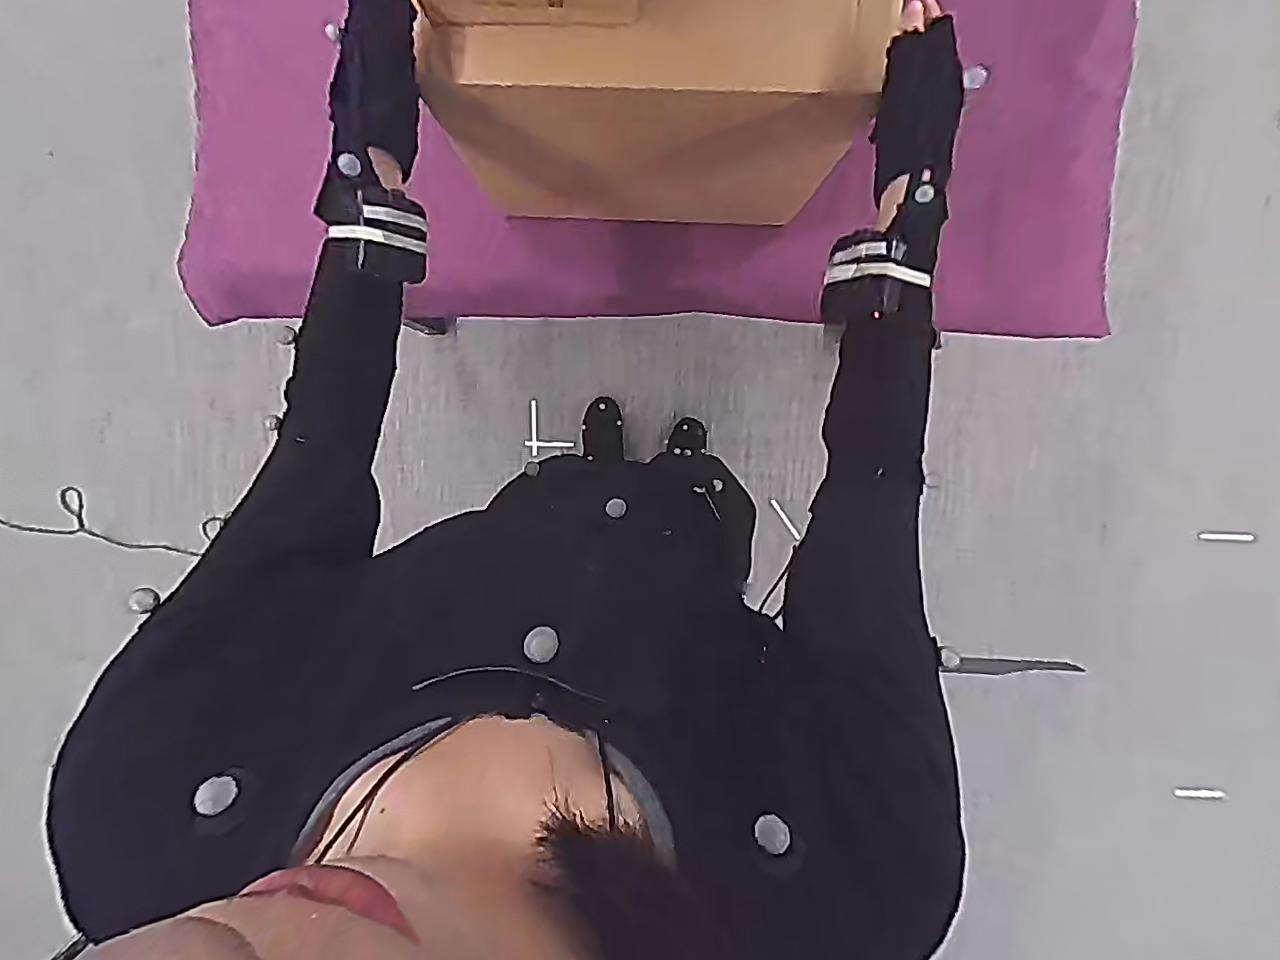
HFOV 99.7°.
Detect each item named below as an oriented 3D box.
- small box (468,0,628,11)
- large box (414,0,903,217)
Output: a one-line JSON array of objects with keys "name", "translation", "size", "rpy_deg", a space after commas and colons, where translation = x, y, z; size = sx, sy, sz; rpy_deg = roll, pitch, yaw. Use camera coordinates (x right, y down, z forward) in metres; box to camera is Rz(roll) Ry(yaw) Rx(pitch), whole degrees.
[{"name": "small box", "translation": [-0.083, -0.438, 0.331], "size": [0.168, 0.176, 0.179], "rpy_deg": [-1, 96, -2]}, {"name": "large box", "translation": [0.012, -0.492, 0.571], "size": [0.408, 0.320, 0.320], "rpy_deg": [0, 98, -2]}]
